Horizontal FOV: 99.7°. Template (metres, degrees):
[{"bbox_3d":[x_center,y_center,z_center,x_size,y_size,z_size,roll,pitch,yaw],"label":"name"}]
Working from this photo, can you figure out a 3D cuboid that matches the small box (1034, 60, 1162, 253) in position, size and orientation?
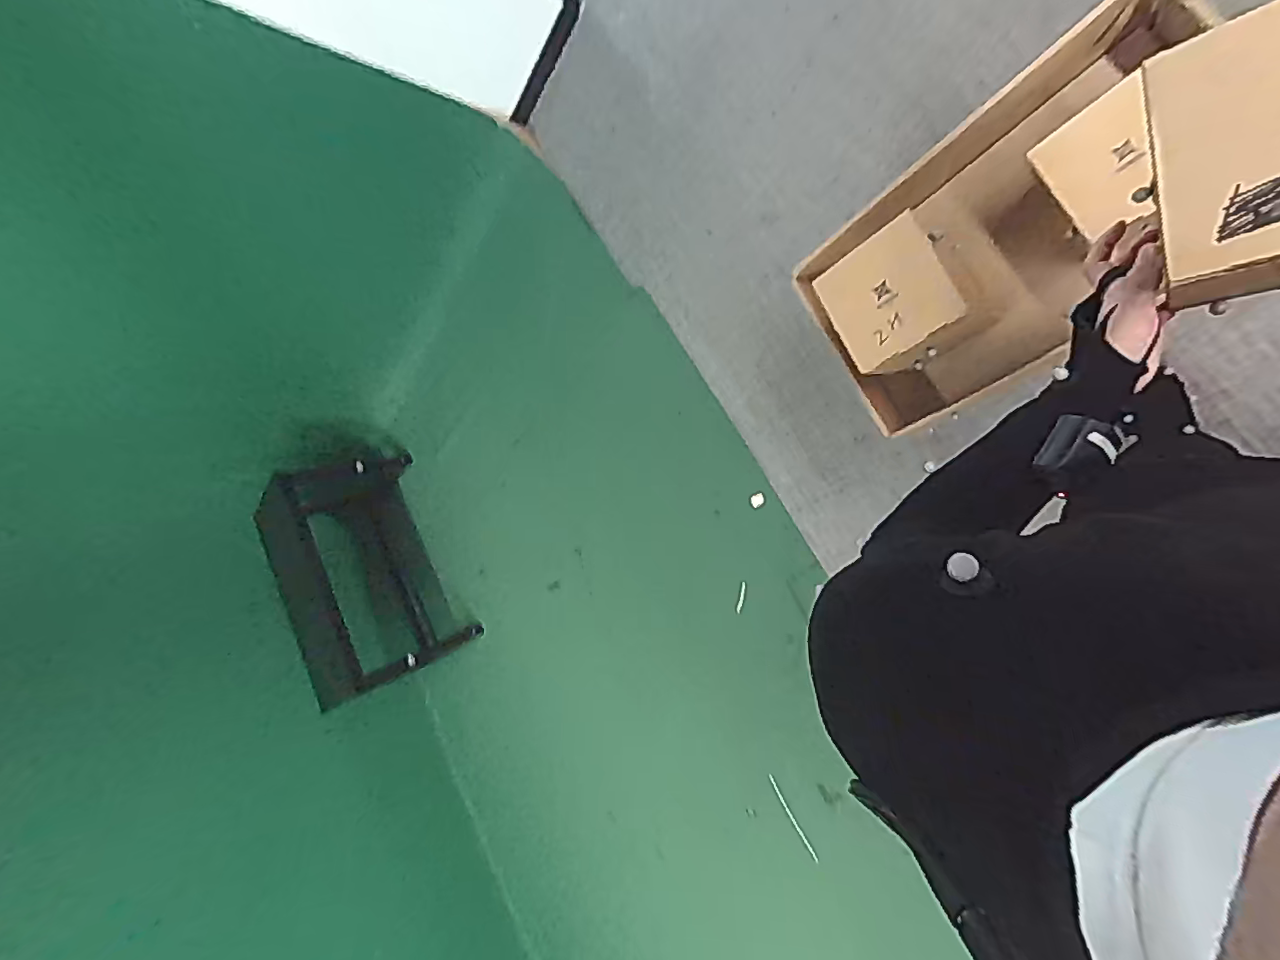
[{"bbox_3d":[0.724,-0.465,0.802,0.168,0.176,0.179,-35,77,39],"label":"small box"}]

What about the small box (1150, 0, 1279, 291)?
[{"bbox_3d":[0.511,-0.255,0.410,0.168,0.176,0.179,-5,92,46],"label":"small box"}]

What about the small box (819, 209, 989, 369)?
[{"bbox_3d":[0.427,-0.294,0.874,0.168,0.176,0.179,-33,78,41],"label":"small box"}]
